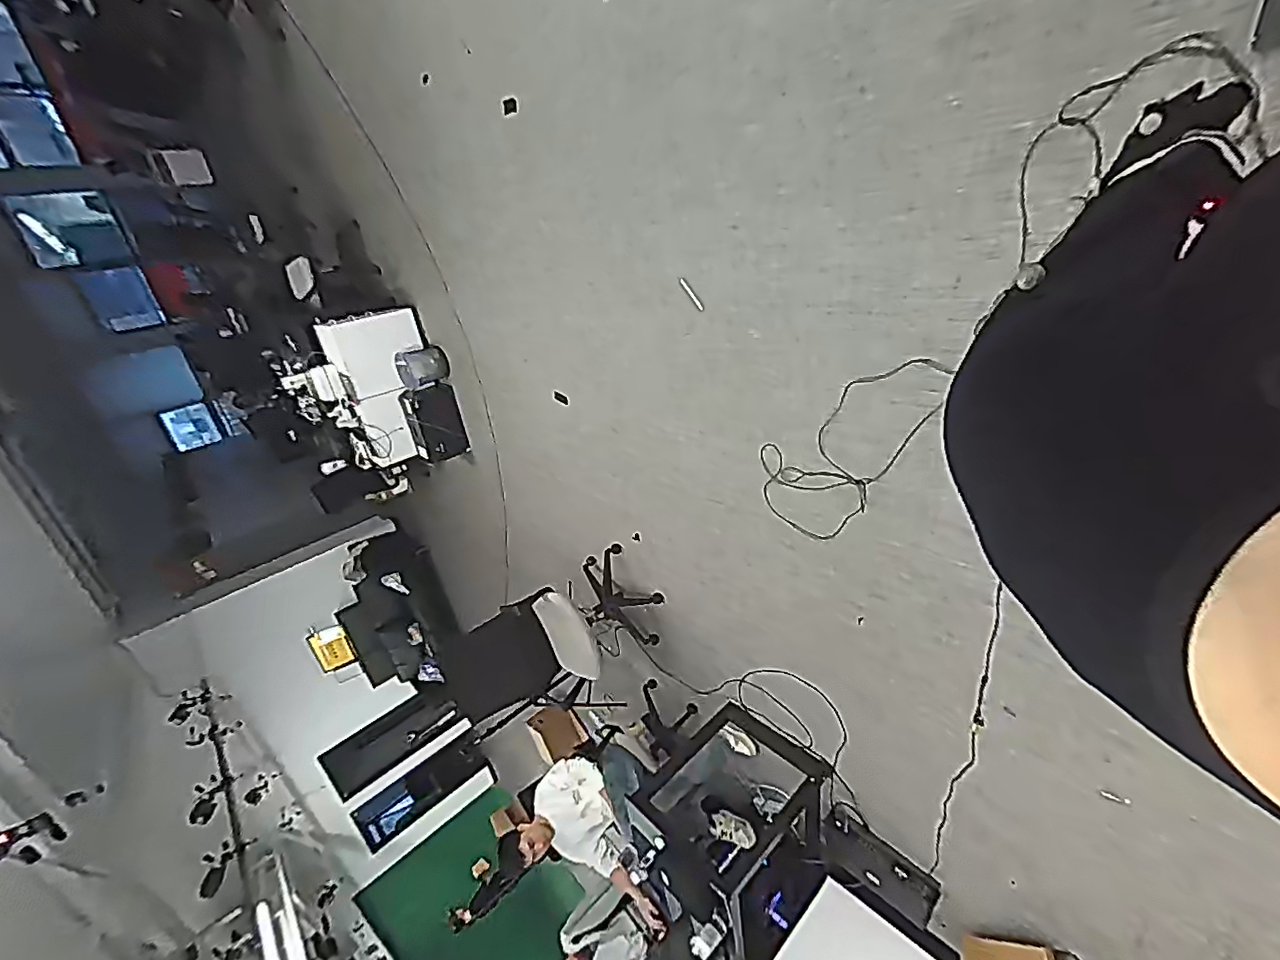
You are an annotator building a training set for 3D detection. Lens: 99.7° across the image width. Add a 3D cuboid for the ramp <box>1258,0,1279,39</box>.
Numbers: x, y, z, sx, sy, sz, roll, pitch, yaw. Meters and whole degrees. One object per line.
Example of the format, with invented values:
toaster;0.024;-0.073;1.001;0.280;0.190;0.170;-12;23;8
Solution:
ramp;1.015;-1.052;0.439;0.509;0.206;0.991;16;125;45
